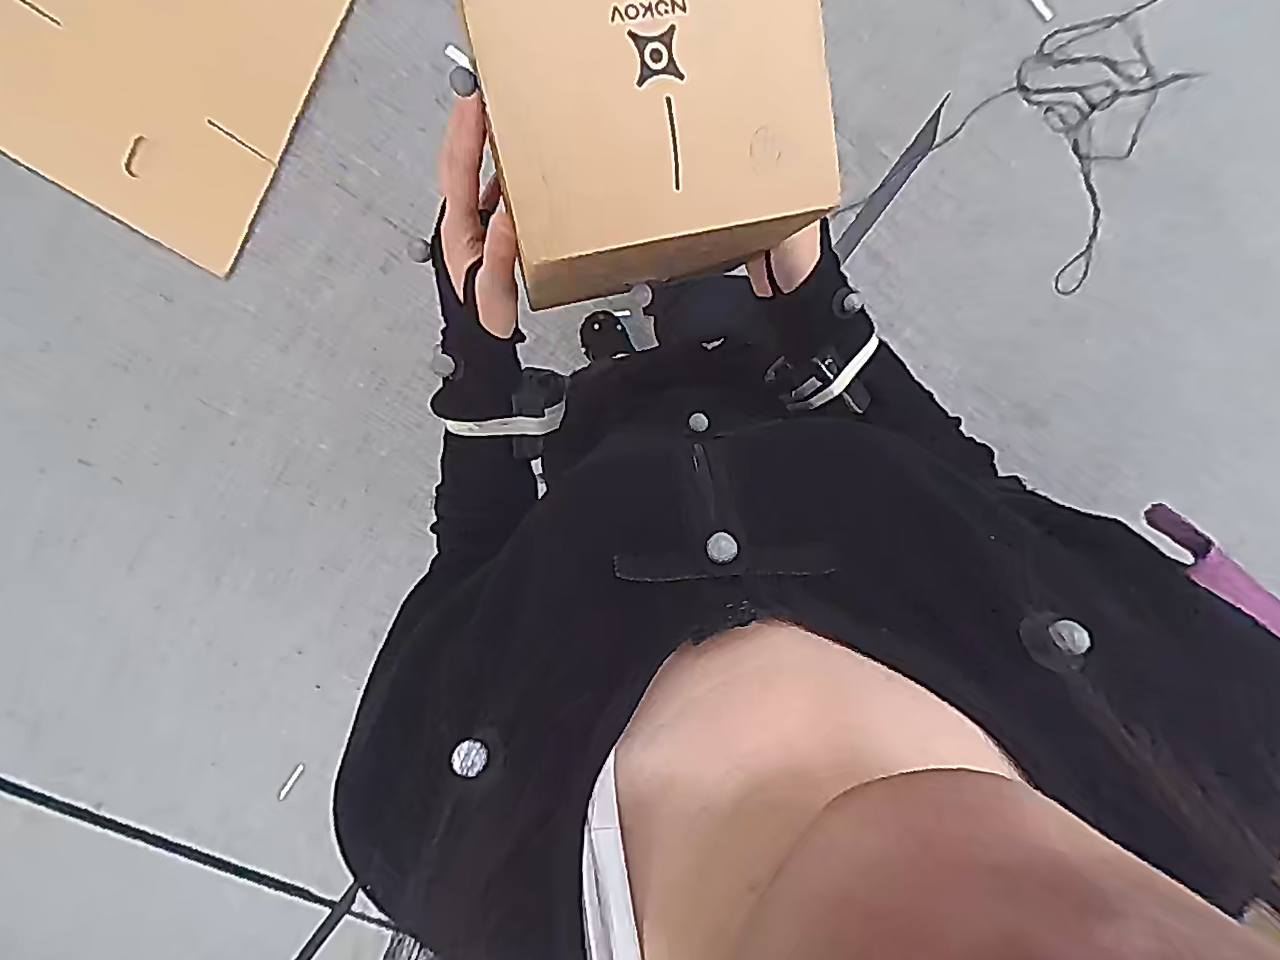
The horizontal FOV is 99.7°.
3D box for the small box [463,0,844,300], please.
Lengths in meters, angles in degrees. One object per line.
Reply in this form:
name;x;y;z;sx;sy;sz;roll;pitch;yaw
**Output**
small box;-0.006;-0.221;0.321;0.168;0.176;0.179;-14;102;-7
